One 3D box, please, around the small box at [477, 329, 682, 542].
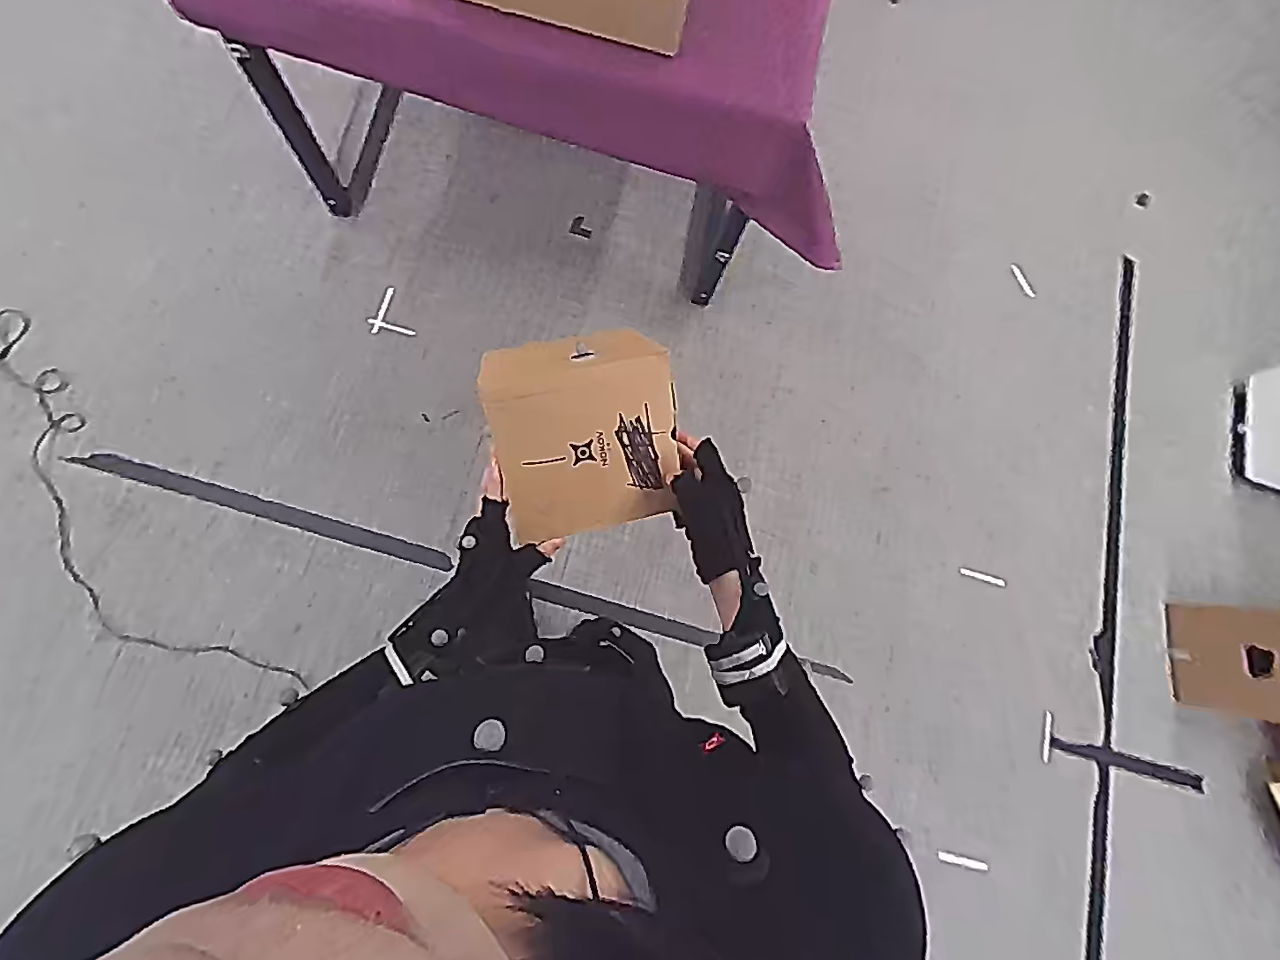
[{"bbox_3d":[-0.069,-0.060,0.580,0.179,0.176,0.168,-13,114,-9],"label":"small box"}]
